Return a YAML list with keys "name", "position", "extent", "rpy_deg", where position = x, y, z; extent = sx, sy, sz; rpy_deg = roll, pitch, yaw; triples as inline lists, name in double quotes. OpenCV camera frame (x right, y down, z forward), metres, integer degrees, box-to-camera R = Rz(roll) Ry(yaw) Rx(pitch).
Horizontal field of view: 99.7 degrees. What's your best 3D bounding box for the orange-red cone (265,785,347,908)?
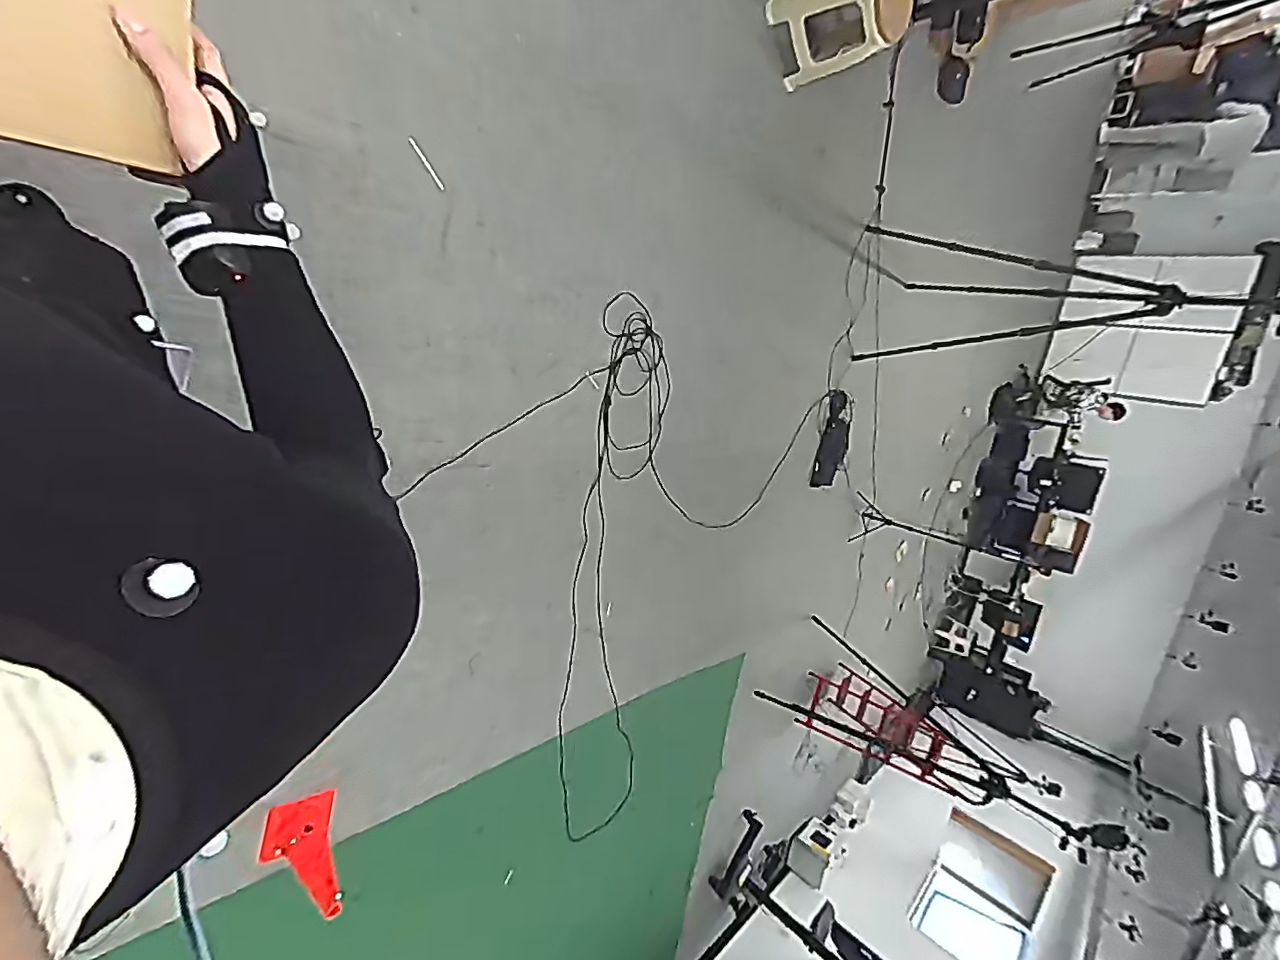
- name: "orange-red cone"
  position: [-0.978, 1.156, 1.657]
  extent: [0.199, 0.360, 0.198]
  rpy_deg: [6, 102, -49]
